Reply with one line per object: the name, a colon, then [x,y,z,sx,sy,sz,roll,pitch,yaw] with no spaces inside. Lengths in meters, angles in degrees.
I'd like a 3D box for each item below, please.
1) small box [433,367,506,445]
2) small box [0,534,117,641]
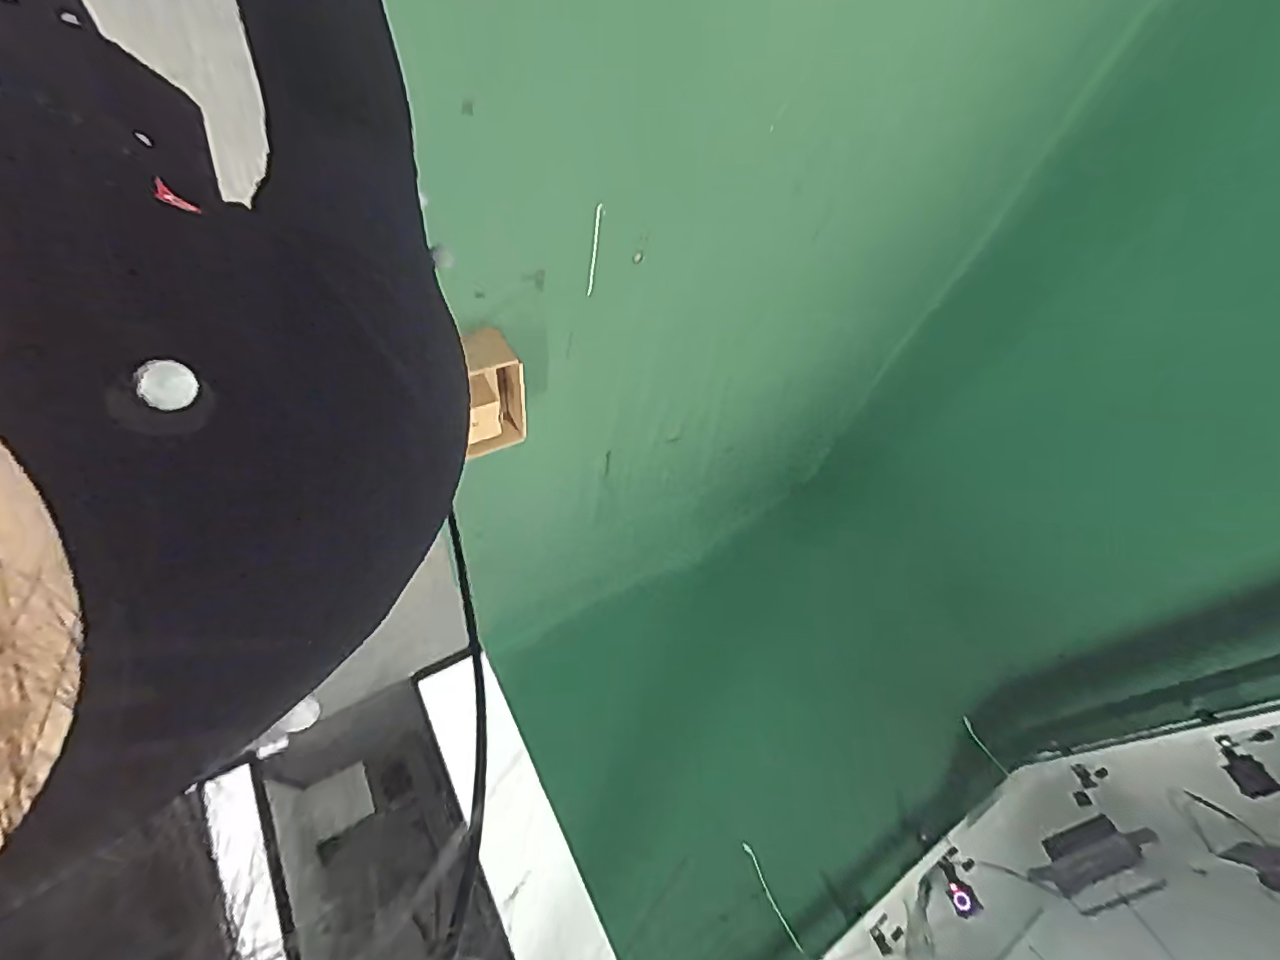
small box: [-0.560,-0.248,1.786,0.179,0.176,0.168,-21,152,-23]
small box: [-1.452,0.263,1.337,0.168,0.176,0.179,-24,153,-24]
